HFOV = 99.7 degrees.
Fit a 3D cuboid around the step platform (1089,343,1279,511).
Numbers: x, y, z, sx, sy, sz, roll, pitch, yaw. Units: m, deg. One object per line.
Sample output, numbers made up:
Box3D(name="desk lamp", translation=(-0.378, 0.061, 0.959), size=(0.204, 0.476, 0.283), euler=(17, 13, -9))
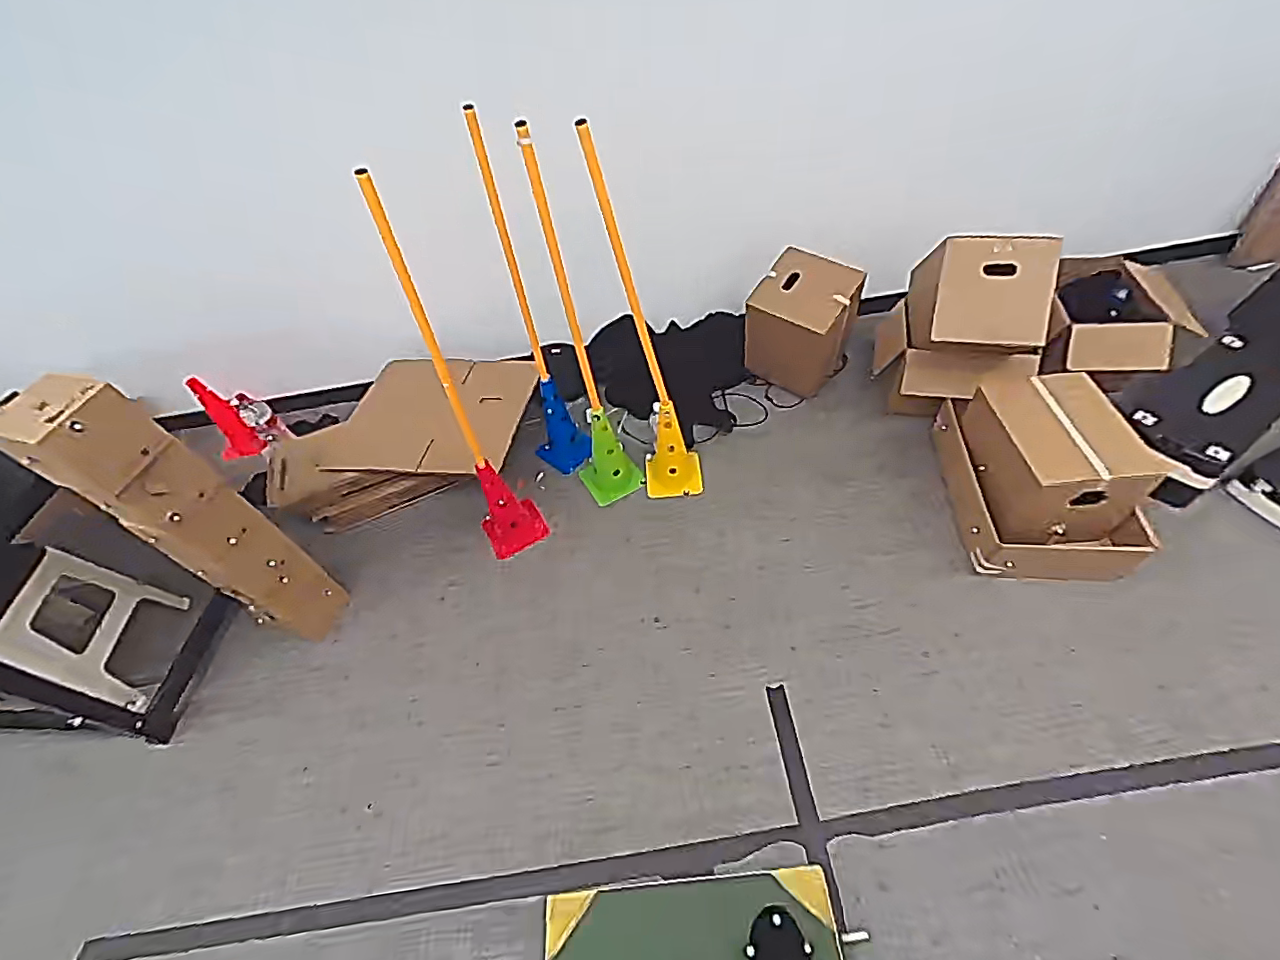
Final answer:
Box3D(name="step platform", translation=(1.842, -0.192, 1.781), size=(0.684, 0.204, 0.286), euler=(-32, 54, -17))
